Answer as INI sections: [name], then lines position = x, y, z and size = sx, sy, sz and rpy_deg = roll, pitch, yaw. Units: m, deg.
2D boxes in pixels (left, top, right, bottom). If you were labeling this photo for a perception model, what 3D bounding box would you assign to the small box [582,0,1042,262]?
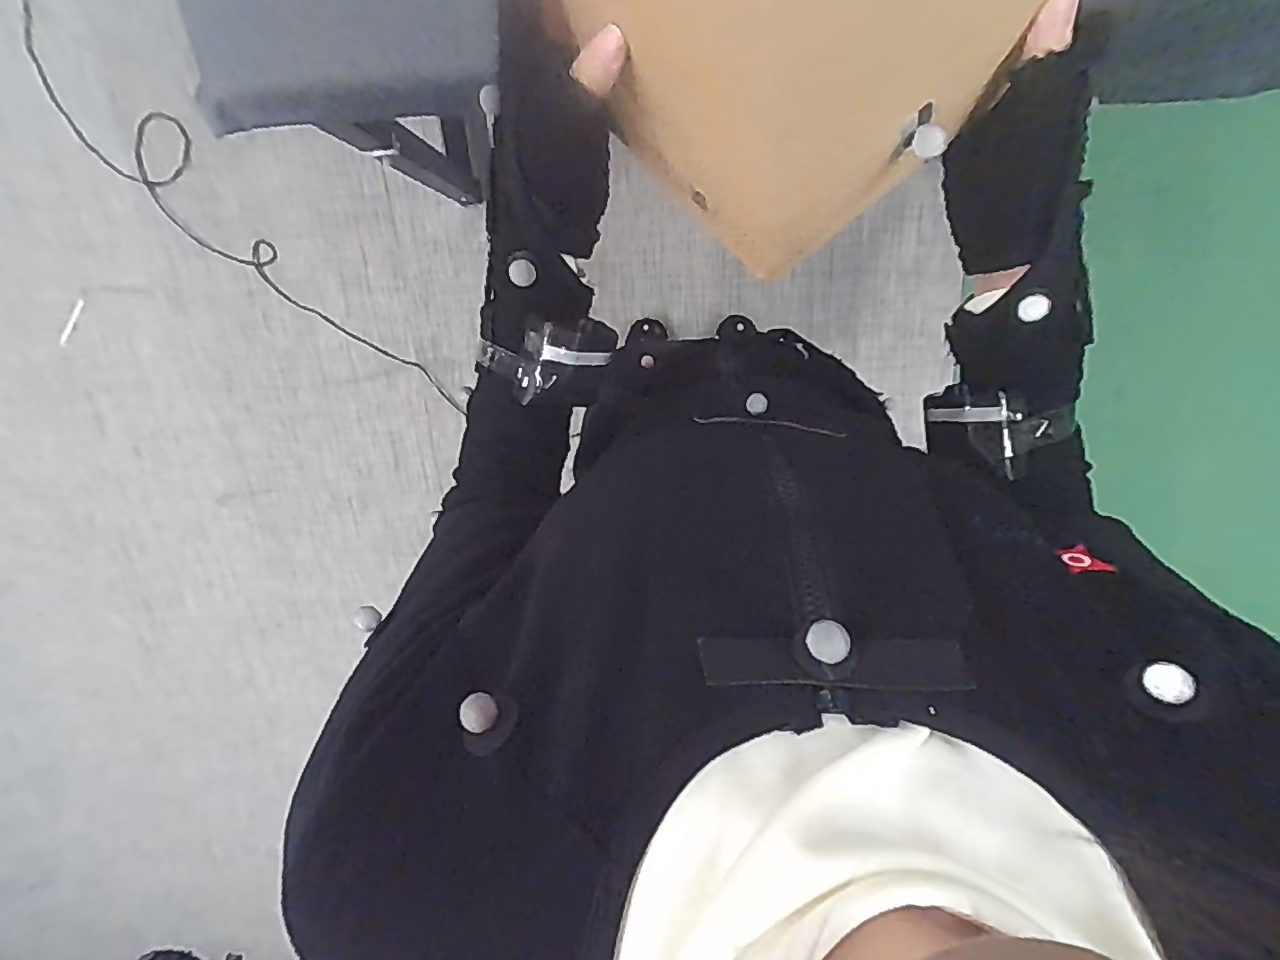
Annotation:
[small box]
position = 0.075, -0.245, 0.245
size = 0.179, 0.176, 0.168
rpy_deg = -39, 74, 4
